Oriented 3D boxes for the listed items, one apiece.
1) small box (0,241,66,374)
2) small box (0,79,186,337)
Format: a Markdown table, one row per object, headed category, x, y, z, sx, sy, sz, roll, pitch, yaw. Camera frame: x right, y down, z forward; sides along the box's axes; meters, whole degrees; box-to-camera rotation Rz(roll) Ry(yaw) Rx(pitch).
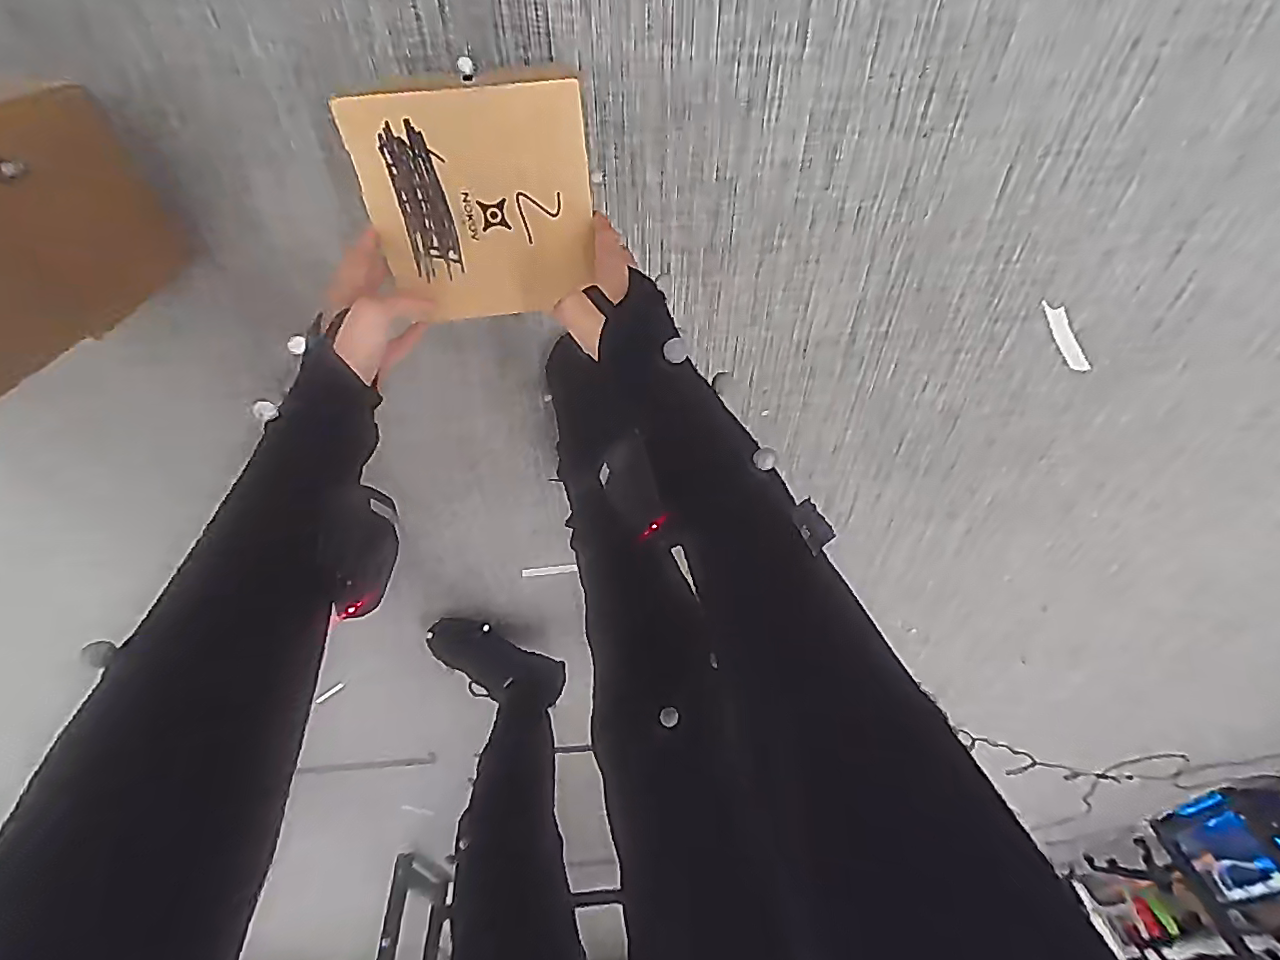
| category | x | y | z | sx | sy | sz | roll | pitch | yaw |
| --- | --- | --- | --- | --- | --- | --- | --- | --- | --- |
| small box | -0.580 | -0.138 | 0.367 | 0.168 | 0.176 | 0.179 | -5 | 131 | -1 |
| small box | -0.581 | -0.244 | 0.494 | 0.168 | 0.176 | 0.179 | -5 | 132 | -1 |
